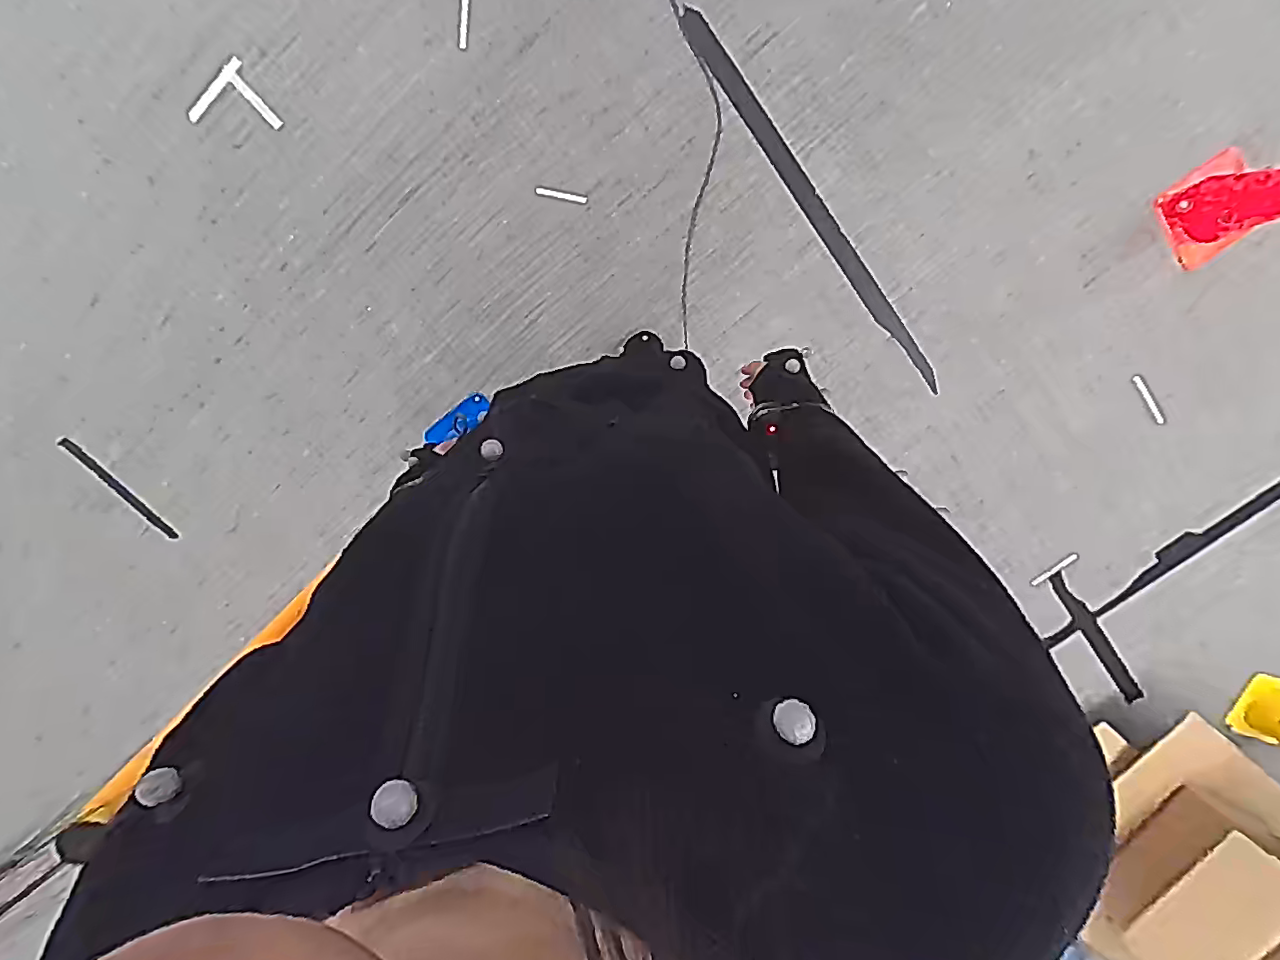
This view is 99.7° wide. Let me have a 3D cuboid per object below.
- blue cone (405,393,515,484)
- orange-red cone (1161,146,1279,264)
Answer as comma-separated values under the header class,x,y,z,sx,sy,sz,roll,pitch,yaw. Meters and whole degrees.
class,x,y,z,sx,sy,sz,roll,pitch,yaw
blue cone,-0.438,-0.061,1.242,0.193,0.380,0.192,-35,102,8
orange-red cone,1.325,-0.586,1.082,0.198,0.360,0.199,-35,103,9
